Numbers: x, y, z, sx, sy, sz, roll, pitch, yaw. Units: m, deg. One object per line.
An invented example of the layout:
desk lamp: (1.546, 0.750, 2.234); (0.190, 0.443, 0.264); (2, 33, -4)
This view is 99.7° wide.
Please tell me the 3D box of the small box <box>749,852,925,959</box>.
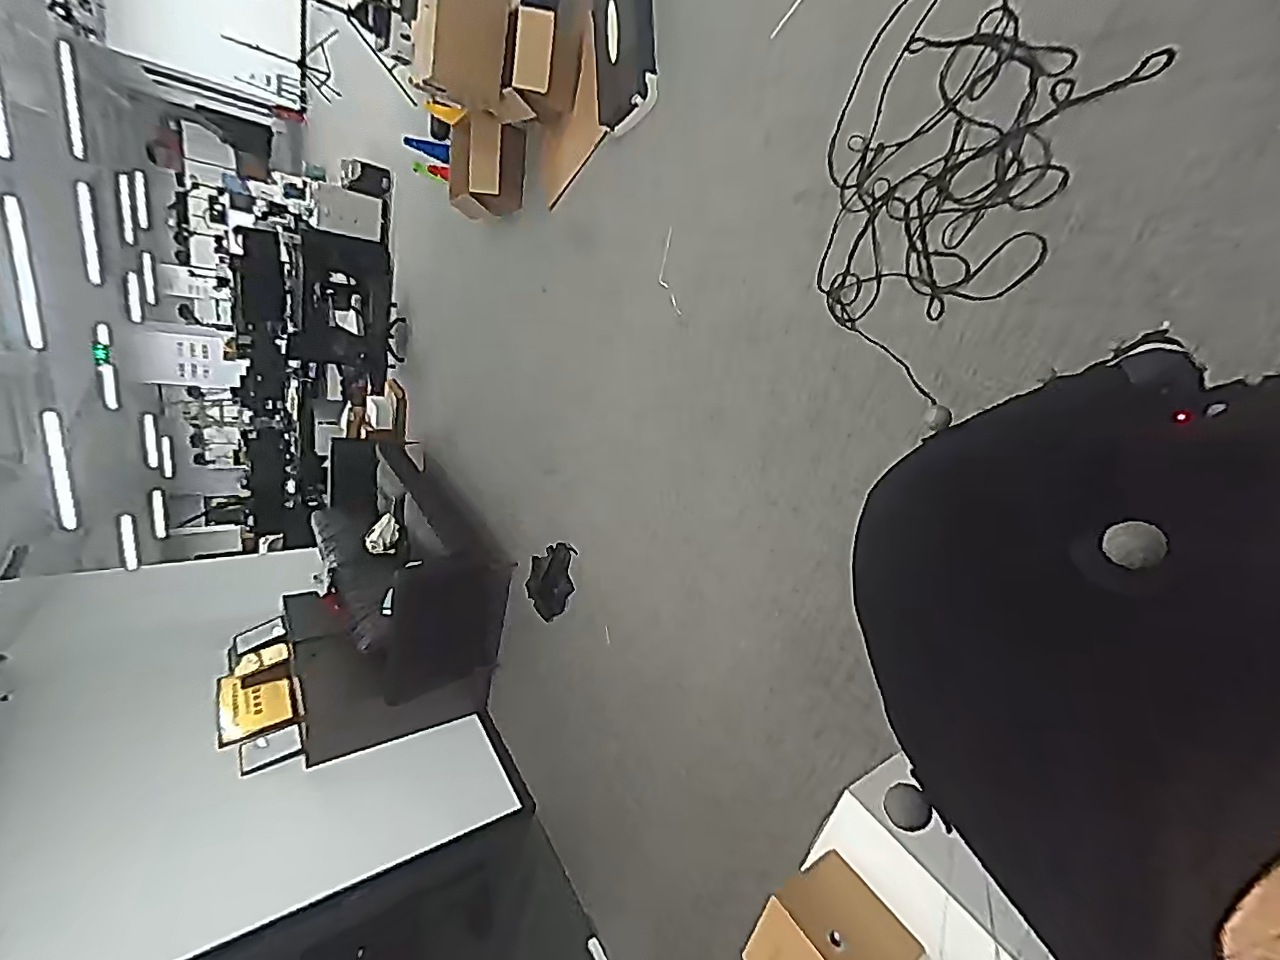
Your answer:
small box: (0.310, 0.745, 0.854); (0.179, 0.176, 0.168); (37, 119, 46)
